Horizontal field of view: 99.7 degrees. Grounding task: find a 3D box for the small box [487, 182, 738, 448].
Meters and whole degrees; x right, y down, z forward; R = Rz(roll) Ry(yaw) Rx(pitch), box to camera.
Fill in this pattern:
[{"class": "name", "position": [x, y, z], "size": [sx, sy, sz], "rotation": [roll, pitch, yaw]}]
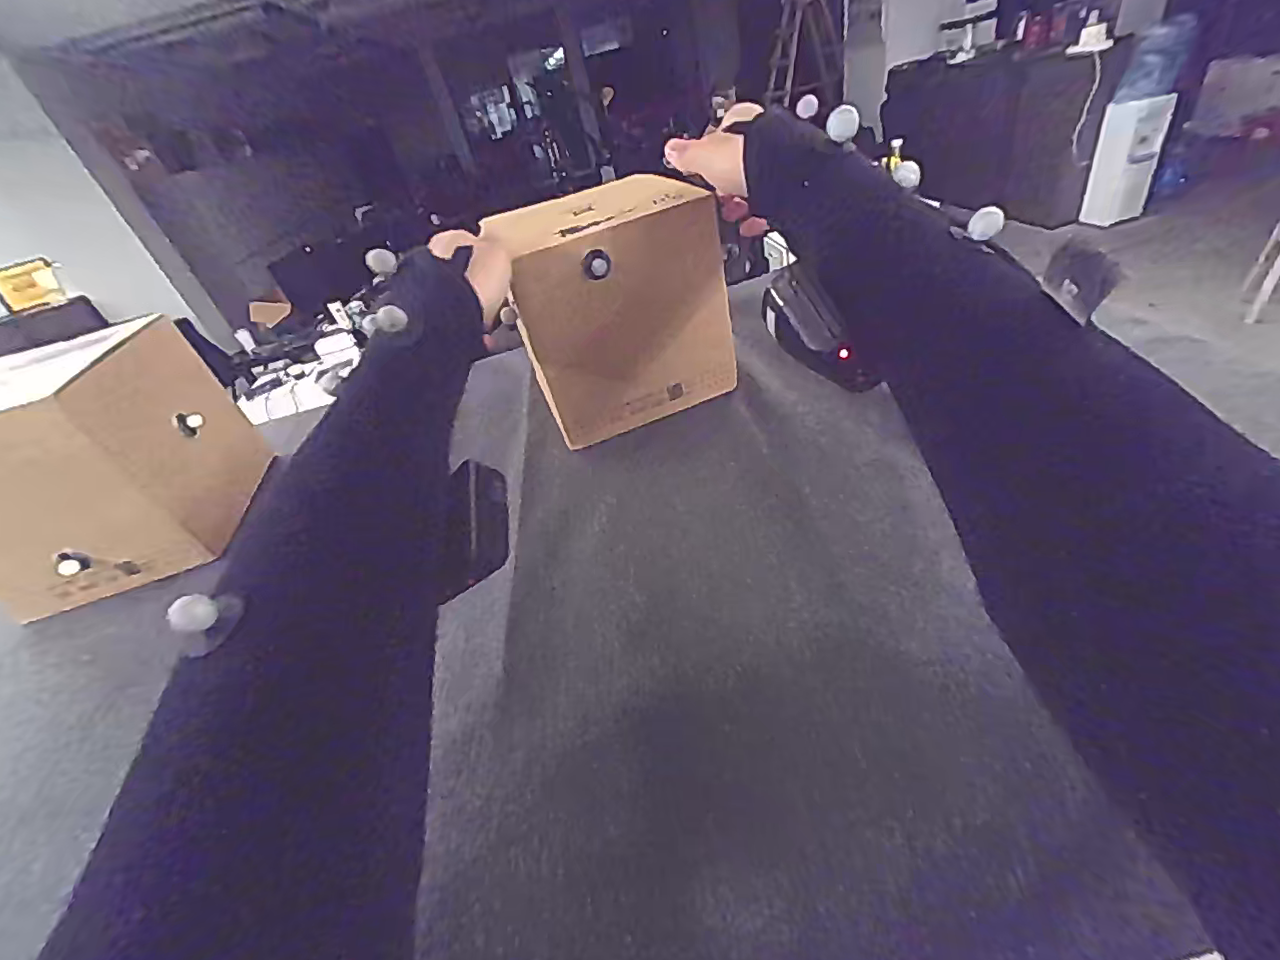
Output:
[{"class": "small box", "position": [-0.026, -0.156, 0.498], "size": [0.168, 0.176, 0.179], "rotation": [-22, 37, -8]}]
